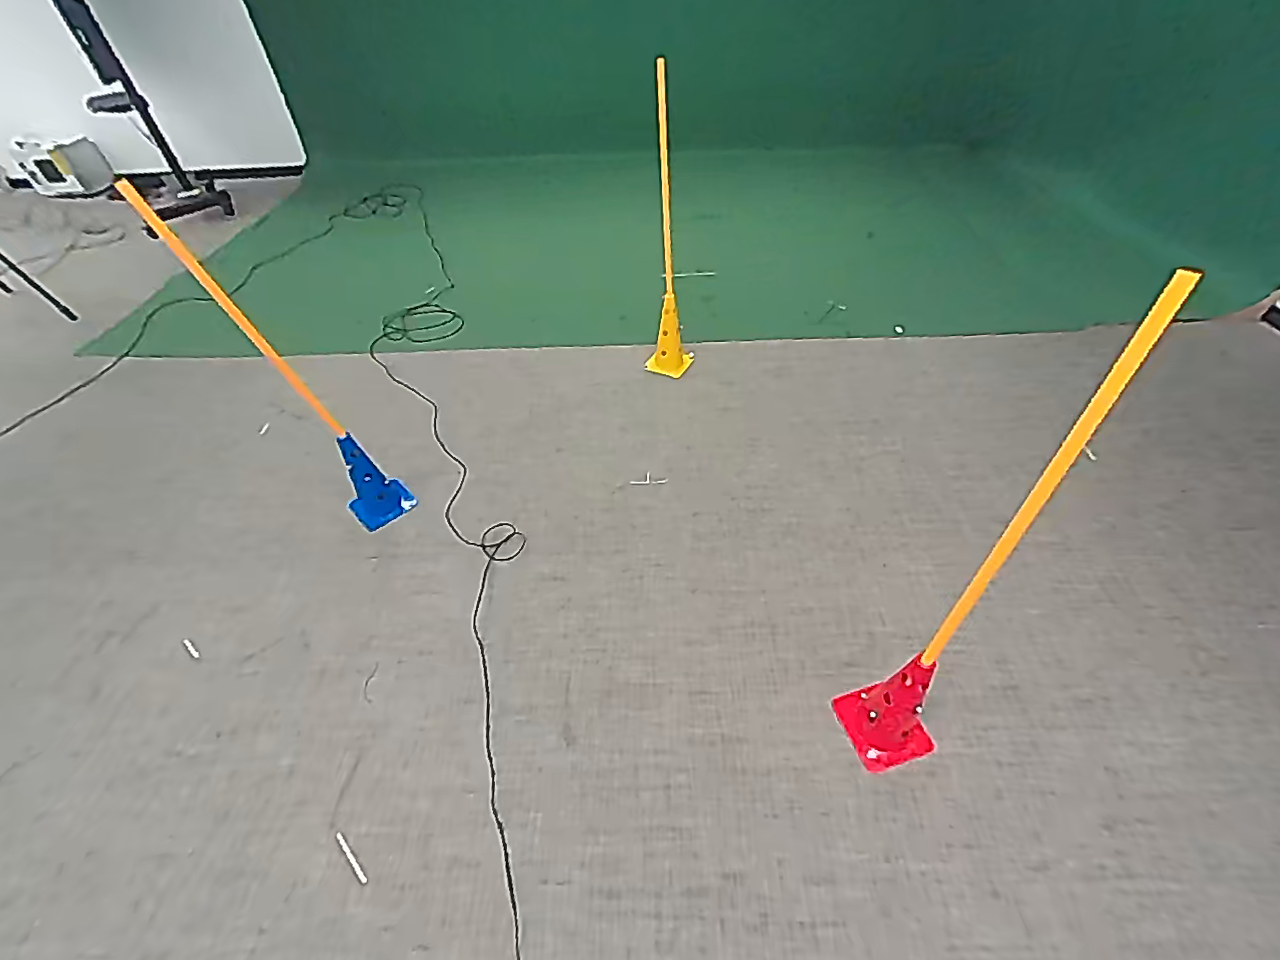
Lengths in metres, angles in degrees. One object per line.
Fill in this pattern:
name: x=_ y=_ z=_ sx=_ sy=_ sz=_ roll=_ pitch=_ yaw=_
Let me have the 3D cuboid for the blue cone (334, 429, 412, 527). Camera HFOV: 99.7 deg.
blue cone: x=-0.982 y=-0.025 z=1.917 sx=0.192 sy=0.380 sz=0.193 roll=35 pitch=58 yaw=30
